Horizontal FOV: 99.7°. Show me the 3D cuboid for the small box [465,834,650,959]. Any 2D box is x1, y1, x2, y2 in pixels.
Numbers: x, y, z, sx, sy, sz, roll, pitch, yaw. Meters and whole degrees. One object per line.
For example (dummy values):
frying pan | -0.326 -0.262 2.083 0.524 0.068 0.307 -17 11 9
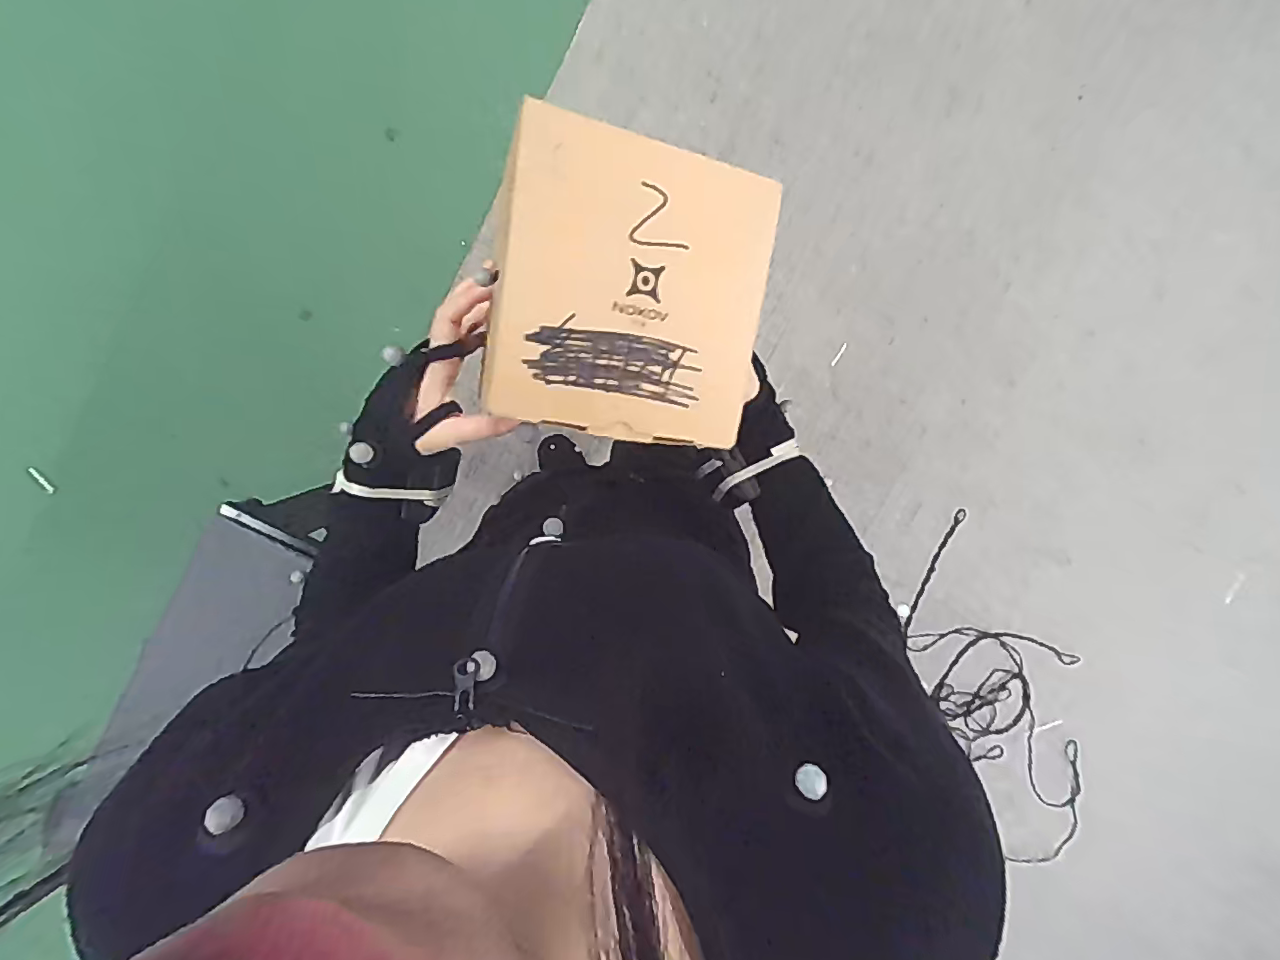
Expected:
small box | -0.094 0.544 0.588 0.168 0.176 0.179 31 96 -8
